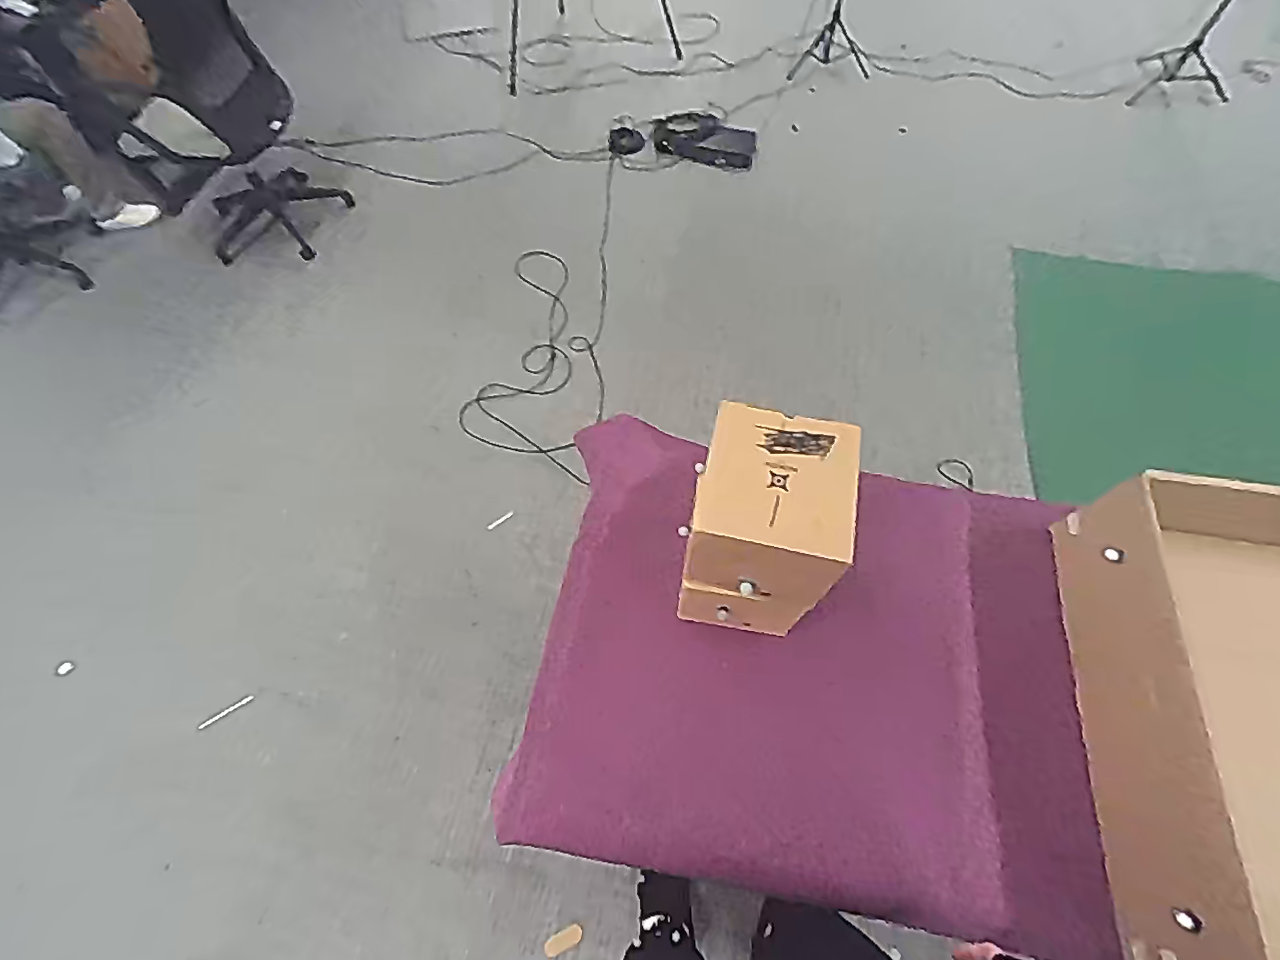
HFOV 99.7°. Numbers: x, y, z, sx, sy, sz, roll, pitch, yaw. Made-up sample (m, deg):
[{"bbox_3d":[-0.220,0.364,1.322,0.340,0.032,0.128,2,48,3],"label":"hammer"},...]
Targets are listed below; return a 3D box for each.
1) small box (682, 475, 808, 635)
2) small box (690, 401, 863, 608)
[{"bbox_3d":[0.155,0.118,0.805,0.168,0.176,0.179,8,60,7],"label":"small box"},{"bbox_3d":[0.158,0.035,0.662,0.168,0.176,0.179,12,62,9],"label":"small box"}]
